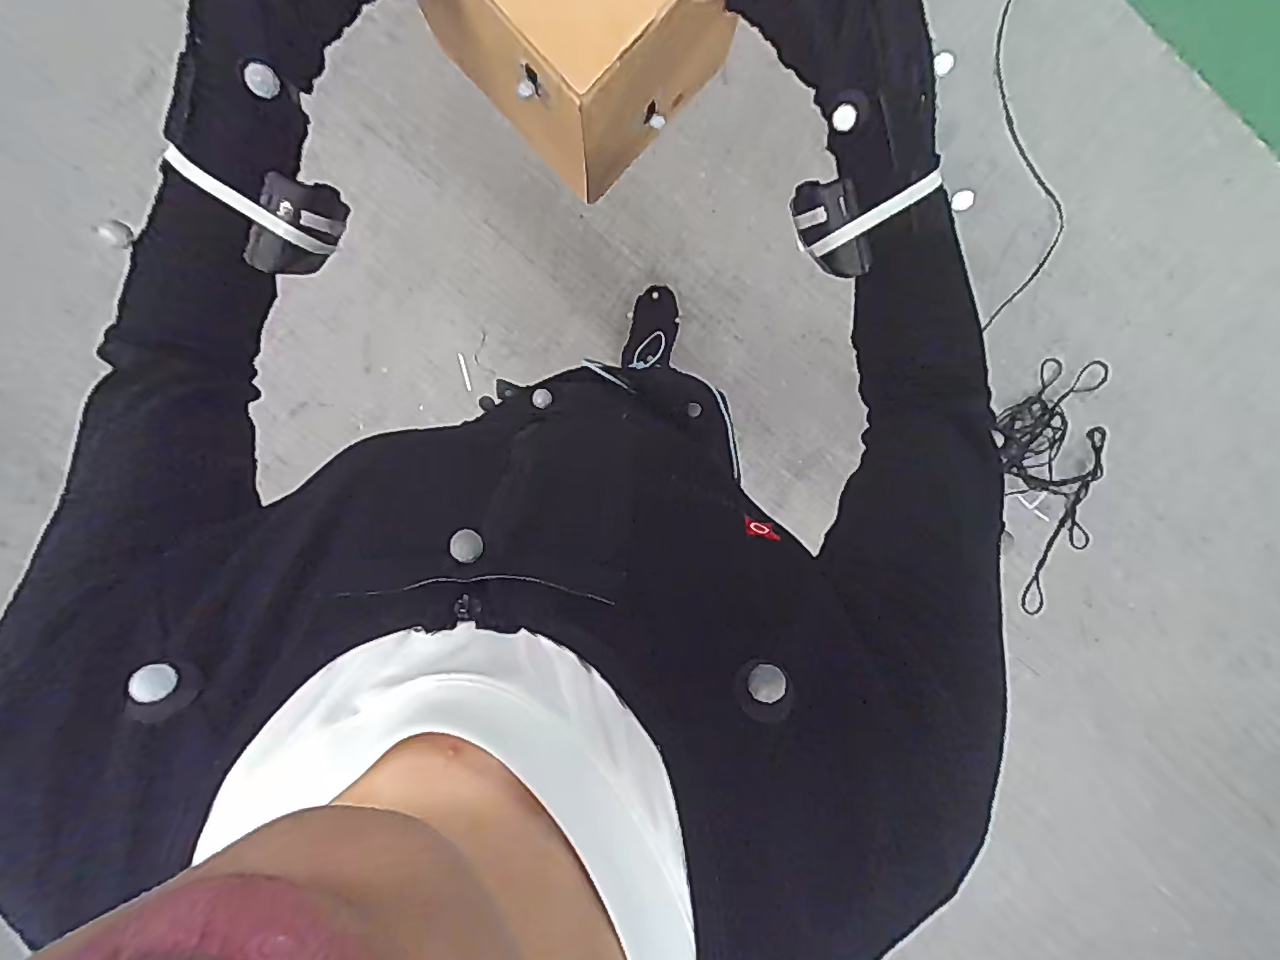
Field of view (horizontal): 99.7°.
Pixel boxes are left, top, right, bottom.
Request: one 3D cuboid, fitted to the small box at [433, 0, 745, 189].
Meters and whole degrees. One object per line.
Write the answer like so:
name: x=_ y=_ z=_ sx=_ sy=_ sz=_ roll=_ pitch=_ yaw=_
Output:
small box: x=-0.039 y=-0.347 z=0.375 sx=0.168 sy=0.176 sz=0.179 roll=-45 pitch=100 yaw=3
